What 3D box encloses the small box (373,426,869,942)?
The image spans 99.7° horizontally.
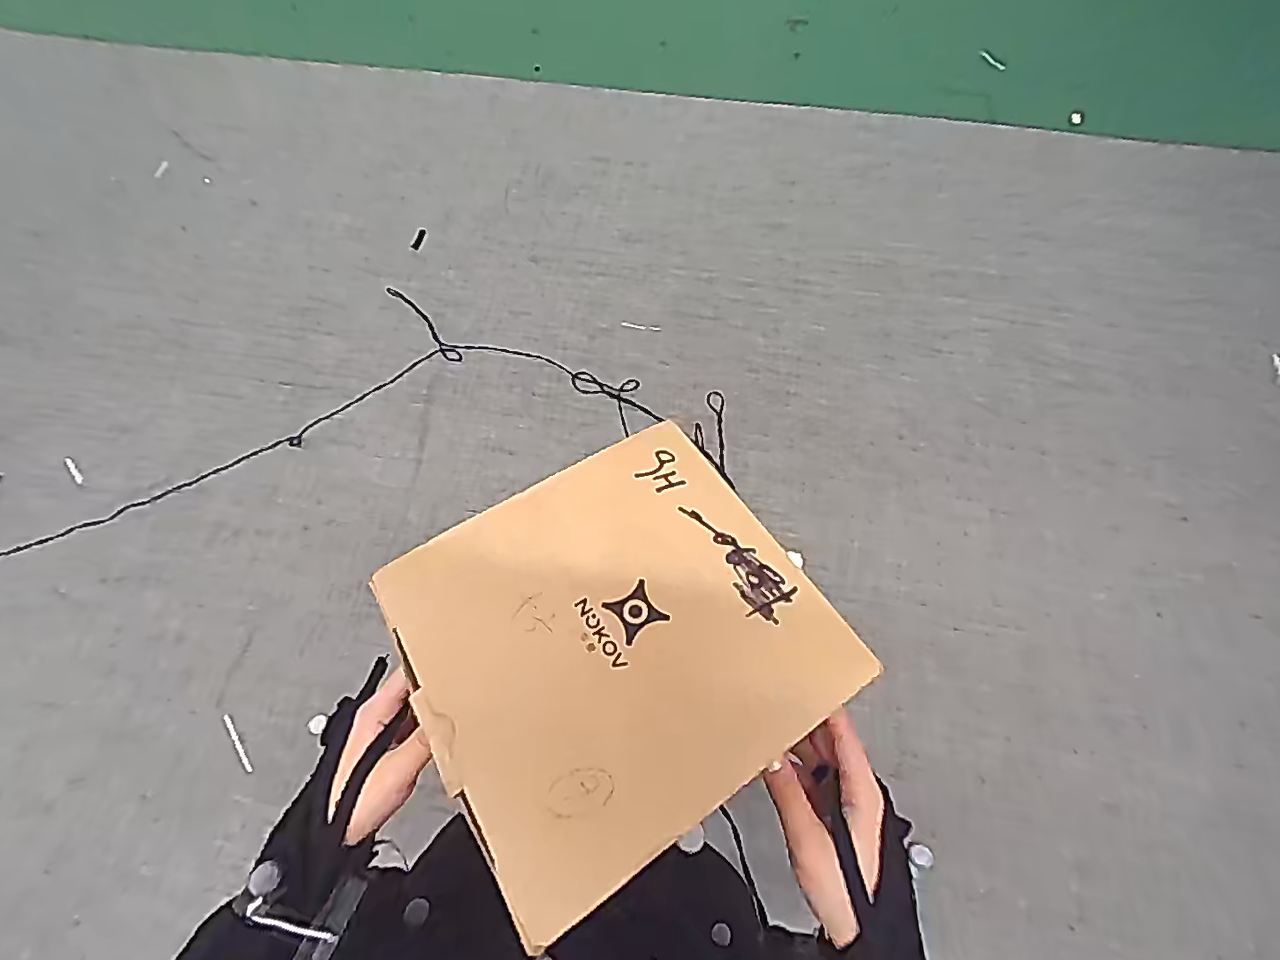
[{"bbox_3d":[-0.013,0.108,0.313,0.179,0.176,0.168,-29,63,-18],"label":"small box"}]
